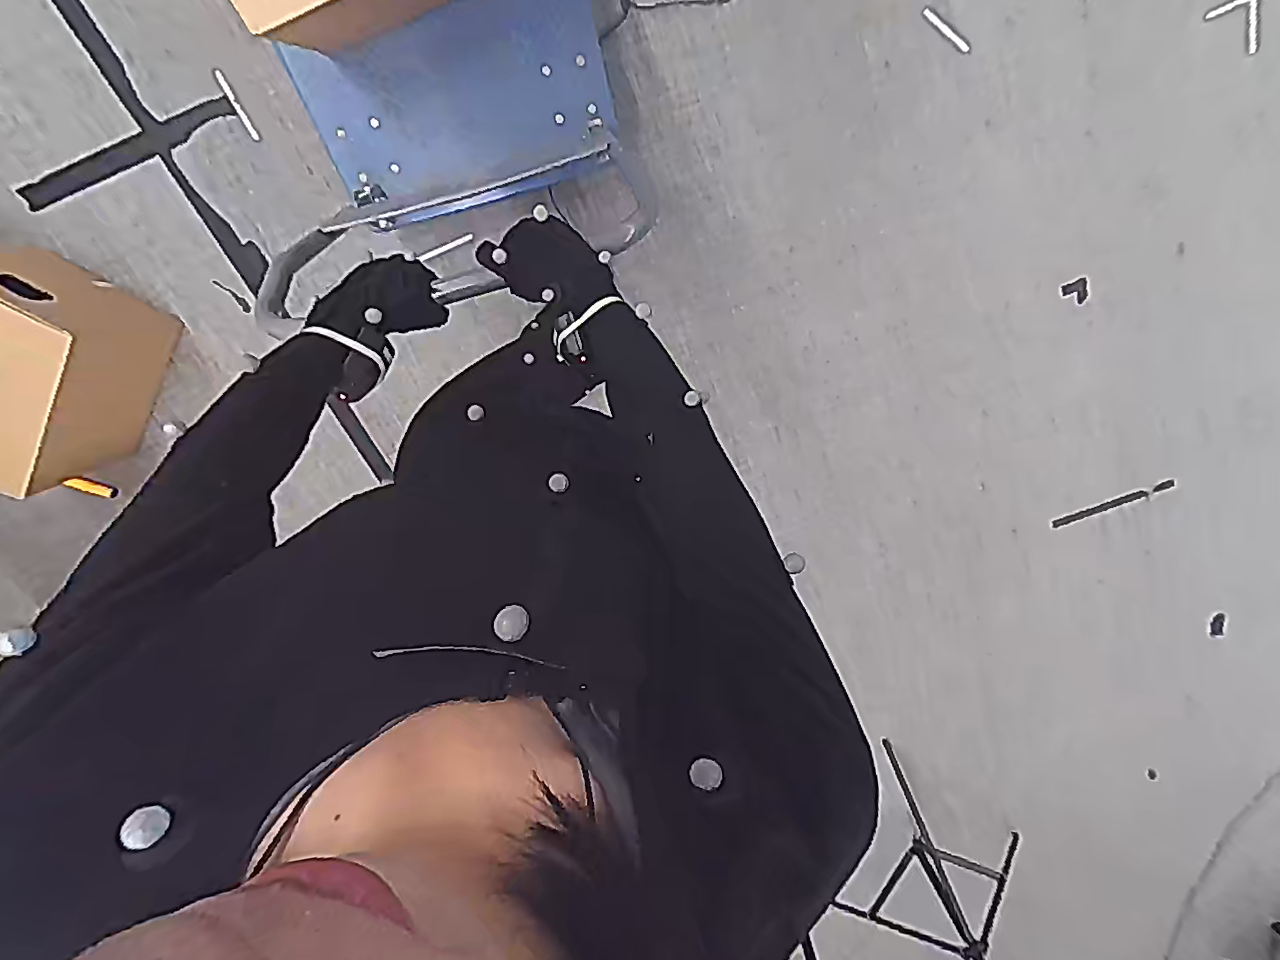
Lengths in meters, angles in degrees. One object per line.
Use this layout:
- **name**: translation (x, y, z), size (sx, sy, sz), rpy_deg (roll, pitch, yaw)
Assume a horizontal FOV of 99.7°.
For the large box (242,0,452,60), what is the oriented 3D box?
- **large box**: translation (-0.423, -0.889, 0.782), size (0.408, 0.320, 0.320), rpy_deg (-22, 124, 4)
